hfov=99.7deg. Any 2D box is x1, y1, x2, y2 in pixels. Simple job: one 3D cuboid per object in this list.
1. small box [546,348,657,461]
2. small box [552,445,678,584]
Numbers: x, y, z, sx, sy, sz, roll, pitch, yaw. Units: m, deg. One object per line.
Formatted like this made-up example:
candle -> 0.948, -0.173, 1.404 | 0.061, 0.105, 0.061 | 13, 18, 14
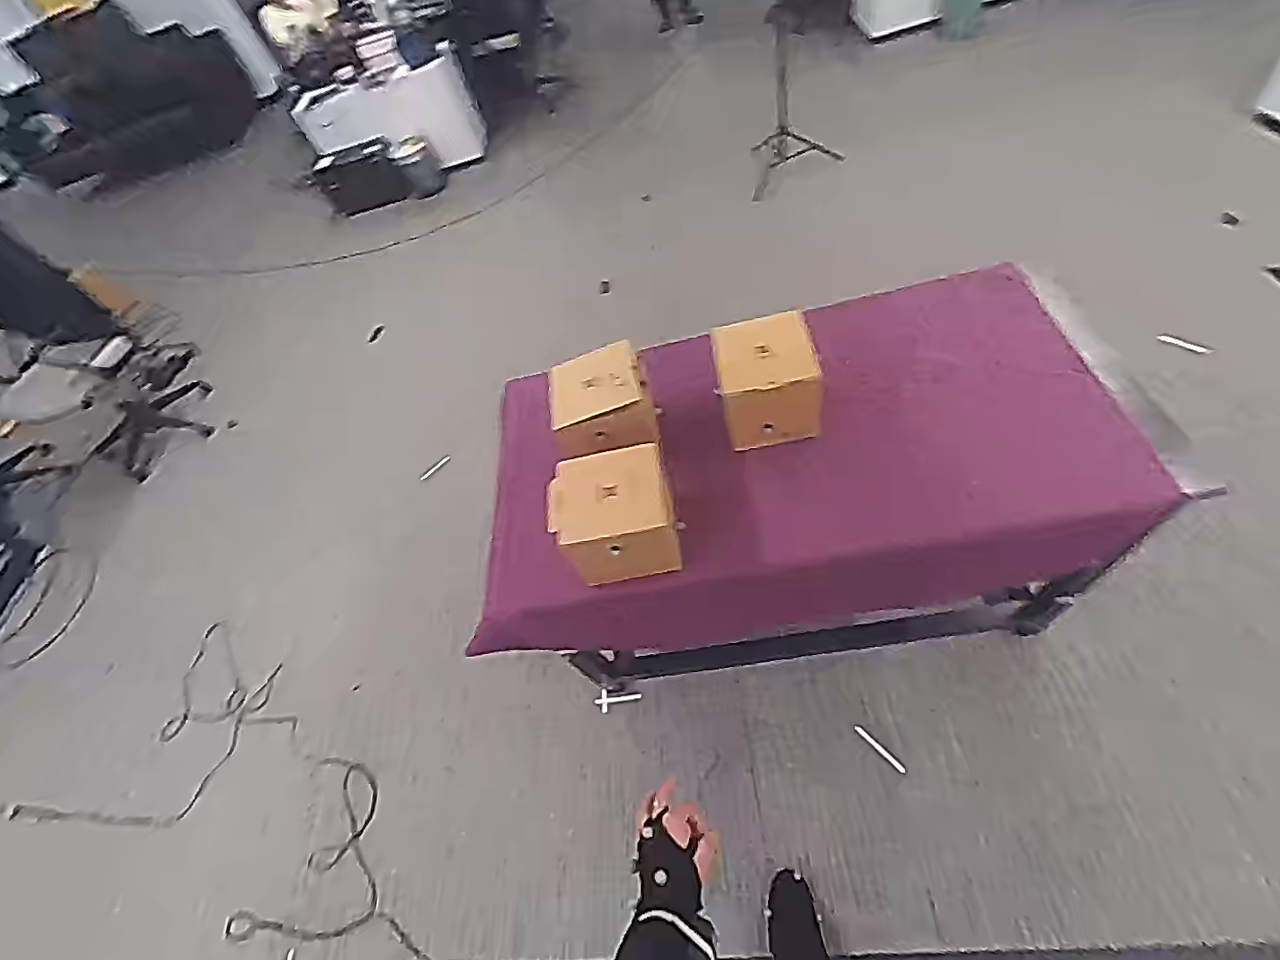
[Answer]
small box -> -0.076, -0.128, 1.080 | 0.179, 0.176, 0.168 | -13, 55, 6
small box -> -0.041, 0.067, 0.941 | 0.179, 0.176, 0.168 | -12, 55, 8
